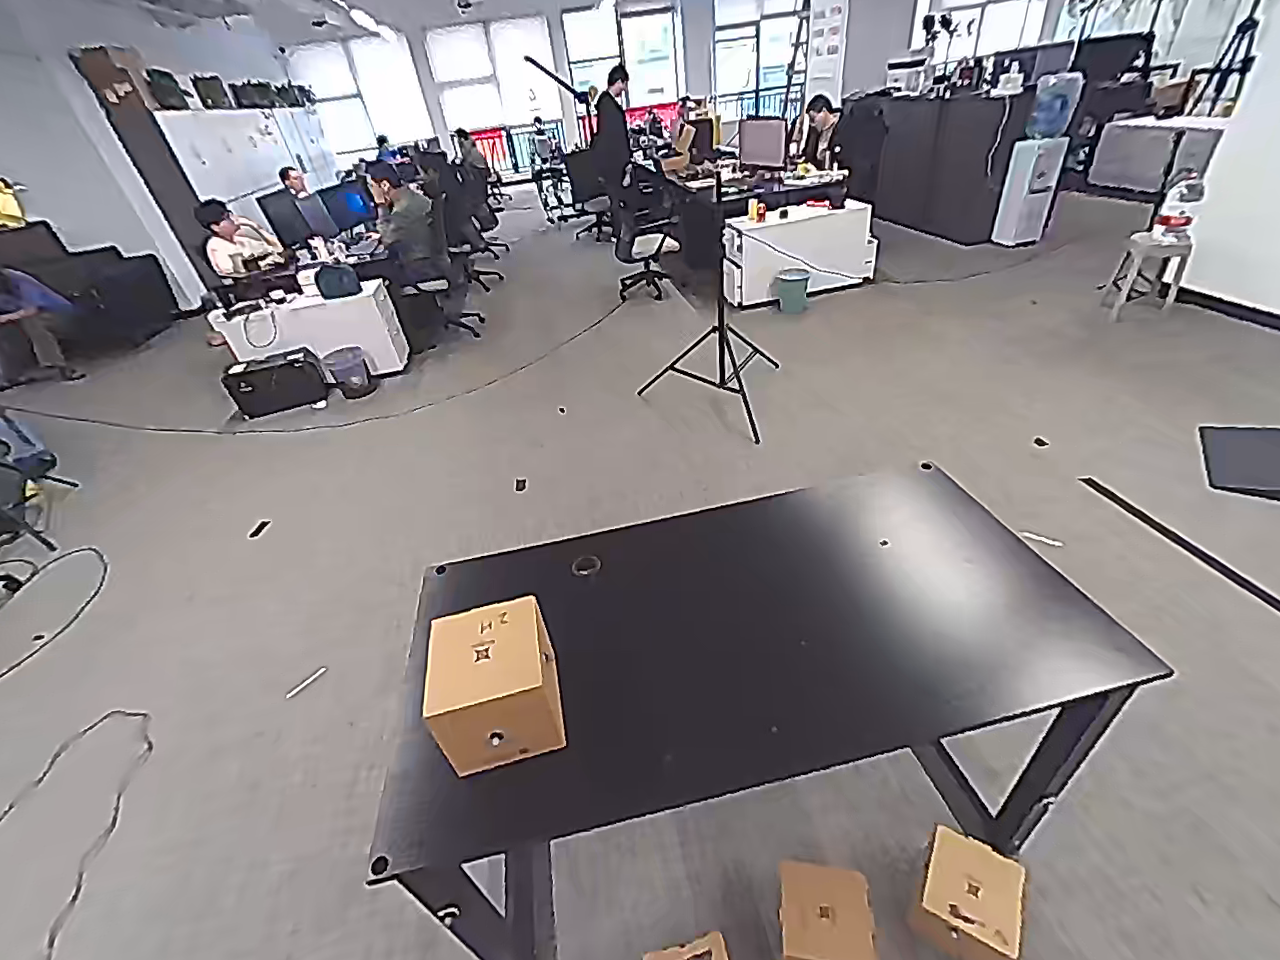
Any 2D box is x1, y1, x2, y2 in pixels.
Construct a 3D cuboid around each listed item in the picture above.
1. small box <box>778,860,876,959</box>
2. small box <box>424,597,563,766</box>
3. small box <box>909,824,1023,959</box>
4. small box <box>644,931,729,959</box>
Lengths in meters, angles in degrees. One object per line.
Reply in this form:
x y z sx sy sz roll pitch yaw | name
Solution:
0.384 0.937 1.136 0.179 0.176 0.168 0 36 13 | small box
-0.222 0.320 0.851 0.168 0.176 0.179 -13 36 -7 | small box
0.682 0.885 1.141 0.168 0.176 0.179 16 43 30 | small box
0.109 1.034 1.057 0.168 0.176 0.179 -13 38 -5 | small box
